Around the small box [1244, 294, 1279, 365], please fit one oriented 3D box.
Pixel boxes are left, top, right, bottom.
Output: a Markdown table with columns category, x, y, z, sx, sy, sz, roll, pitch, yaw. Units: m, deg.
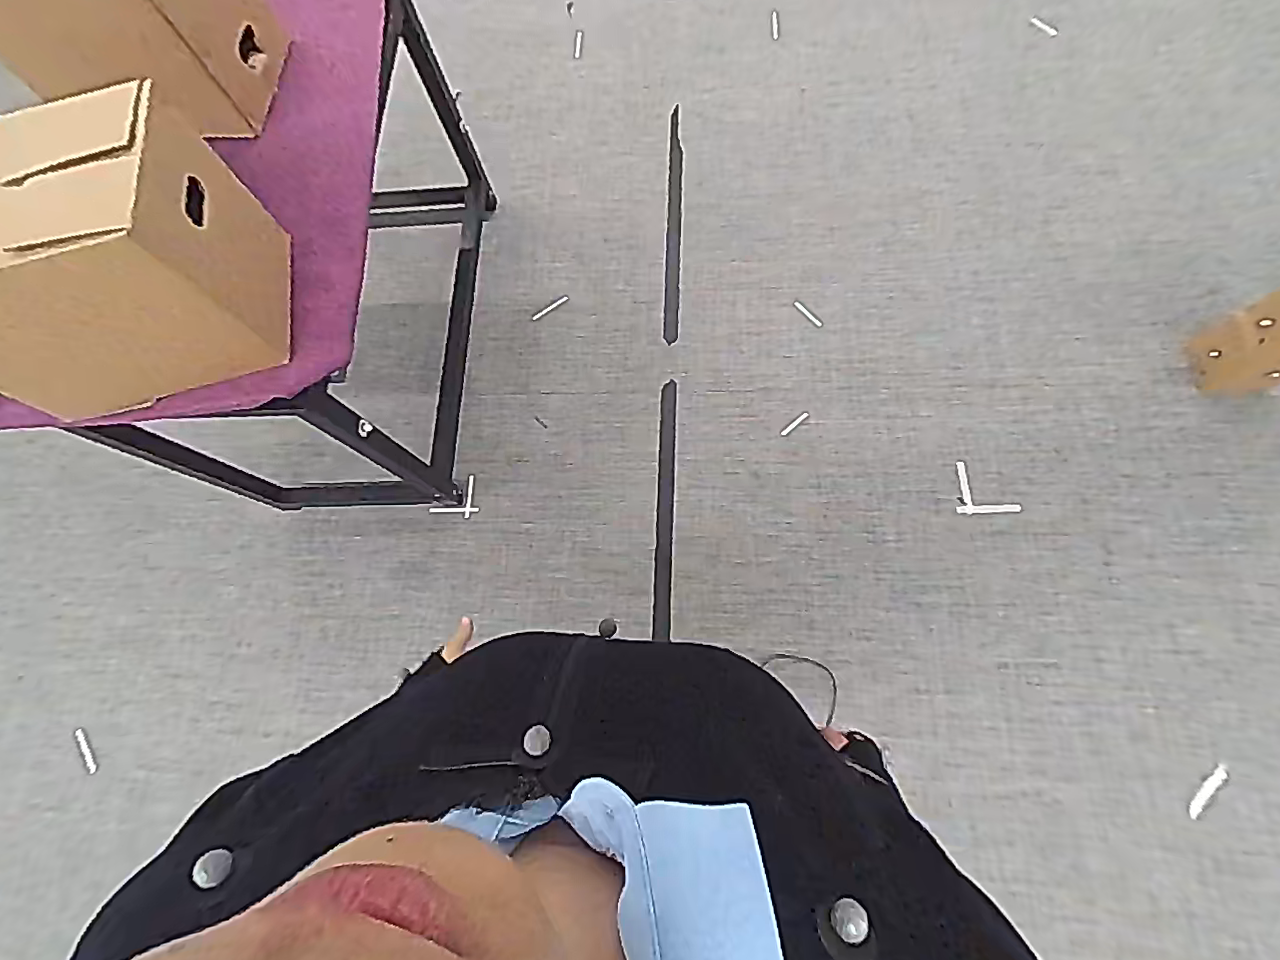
| category | x | y | z | sx | sy | sz | roll | pitch | yaw |
| --- | --- | --- | --- | --- | --- | --- | --- | --- | --- |
| small box | 1.720 | -0.404 | 1.366 | 0.179 | 0.176 | 0.168 | 0 | 72 | 5 |

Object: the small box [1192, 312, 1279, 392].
| category | x | y | z | sx | sy | sz | roll | pitch | yaw |
| --- | --- | --- | --- | --- | --- | --- | --- | --- | --- |
| small box | 1.723 | -0.357 | 1.522 | 0.179 | 0.176 | 0.168 | -2 | 72 | 4 |
